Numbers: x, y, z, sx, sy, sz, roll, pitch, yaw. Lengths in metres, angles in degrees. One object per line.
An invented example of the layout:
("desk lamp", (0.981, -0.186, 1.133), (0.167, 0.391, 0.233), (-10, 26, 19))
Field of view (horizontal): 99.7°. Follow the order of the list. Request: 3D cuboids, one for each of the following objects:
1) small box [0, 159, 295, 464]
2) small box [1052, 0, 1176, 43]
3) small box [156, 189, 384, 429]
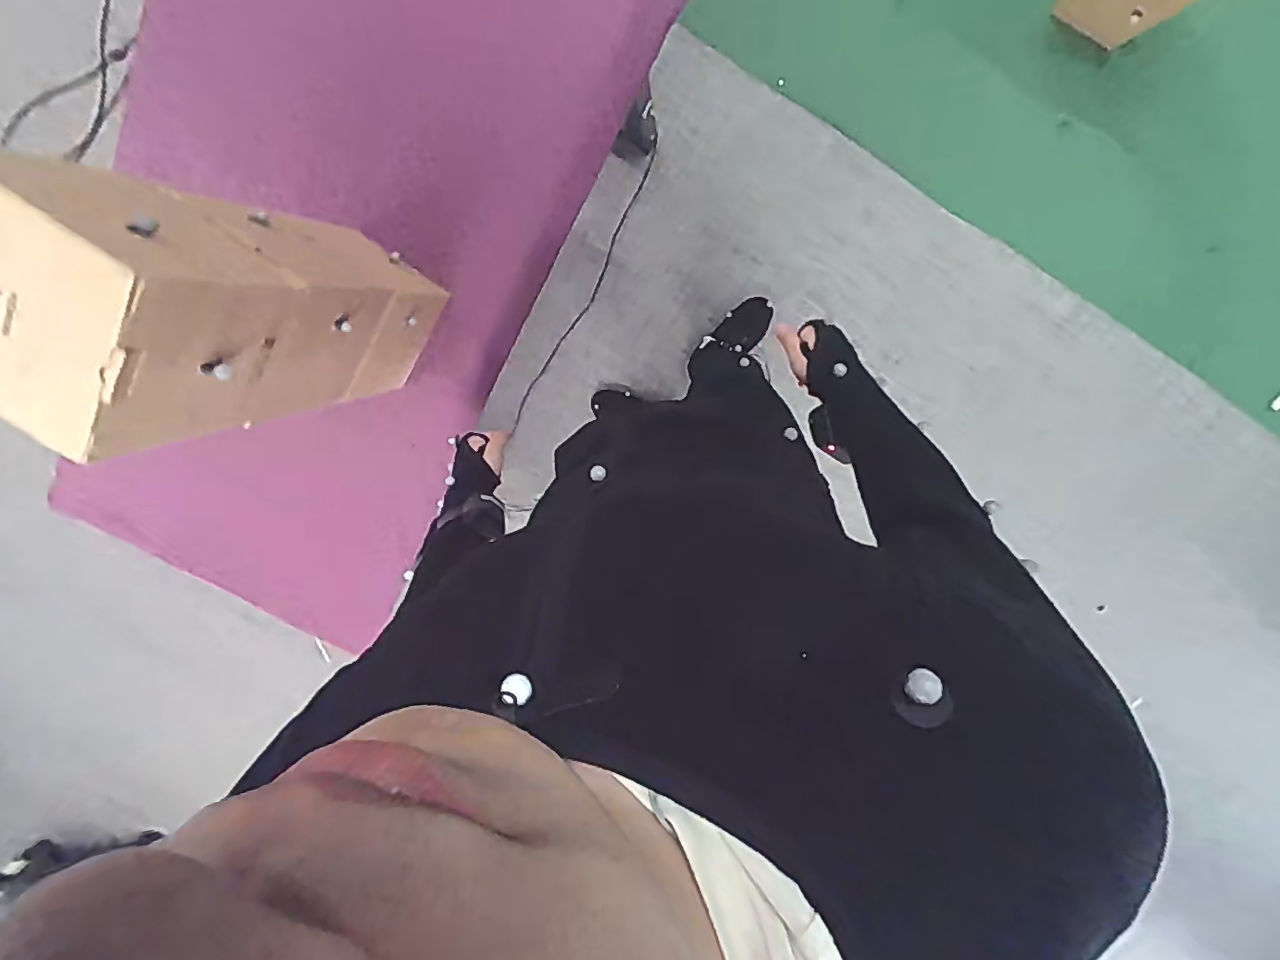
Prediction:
("small box", (-0.446, -0.144, 0.461), (0.179, 0.176, 0.168), (33, 106, -6))
("small box", (1.043, -1.078, 1.145), (0.179, 0.176, 0.168), (26, 108, -4))
("small box", (-0.427, -0.188, 0.617), (0.168, 0.176, 0.179), (34, 107, -6))
